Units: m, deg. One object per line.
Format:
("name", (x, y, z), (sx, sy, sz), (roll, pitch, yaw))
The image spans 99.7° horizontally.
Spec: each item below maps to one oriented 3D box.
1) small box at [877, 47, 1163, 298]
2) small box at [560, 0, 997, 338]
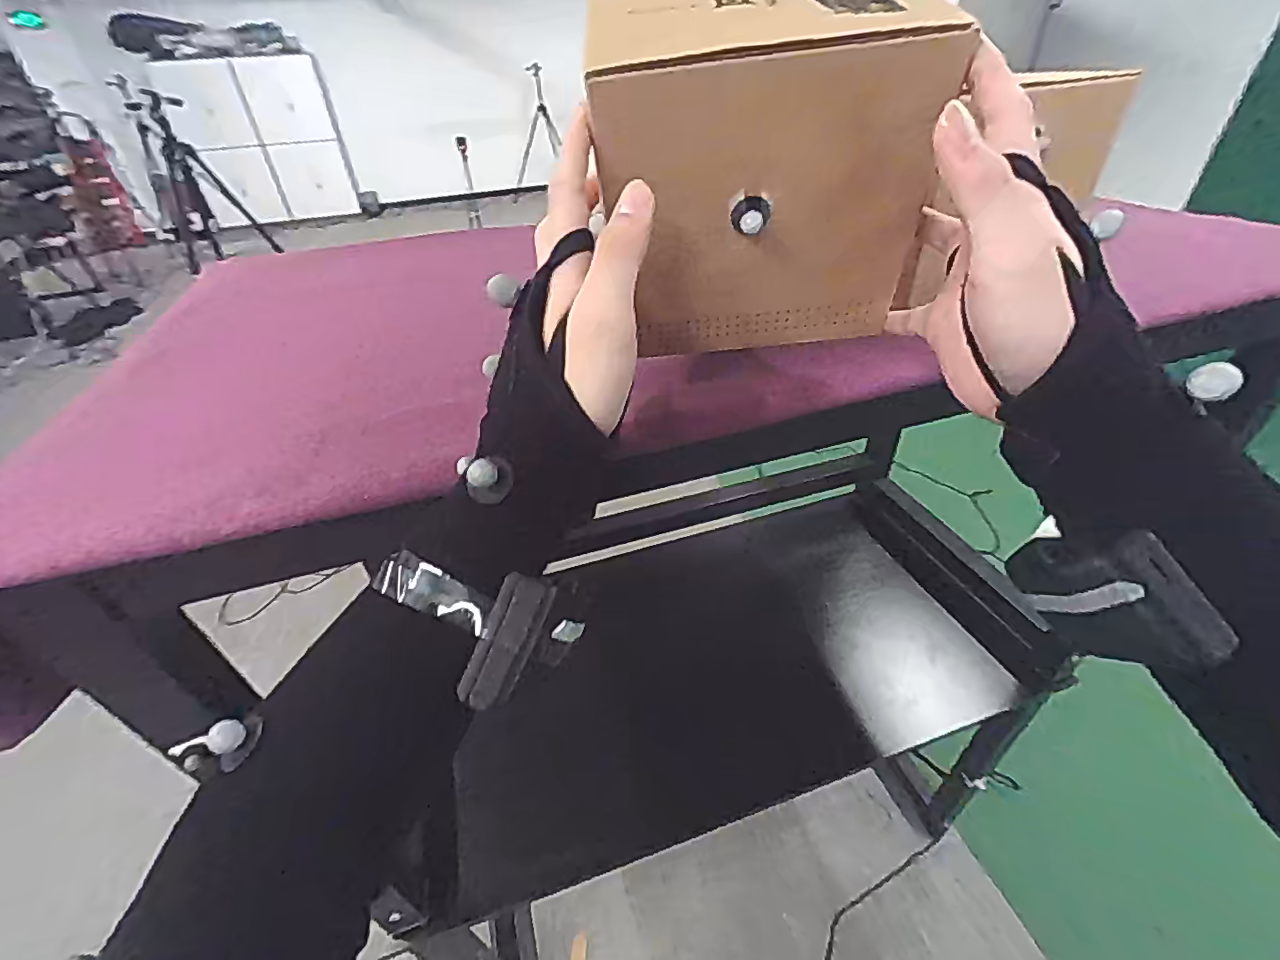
("small box", (0.281, -0.274, 0.485), (0.179, 0.176, 0.168), (-11, 39, -11))
("small box", (0.061, -0.205, 0.323), (0.179, 0.176, 0.168), (-3, 55, 5))
